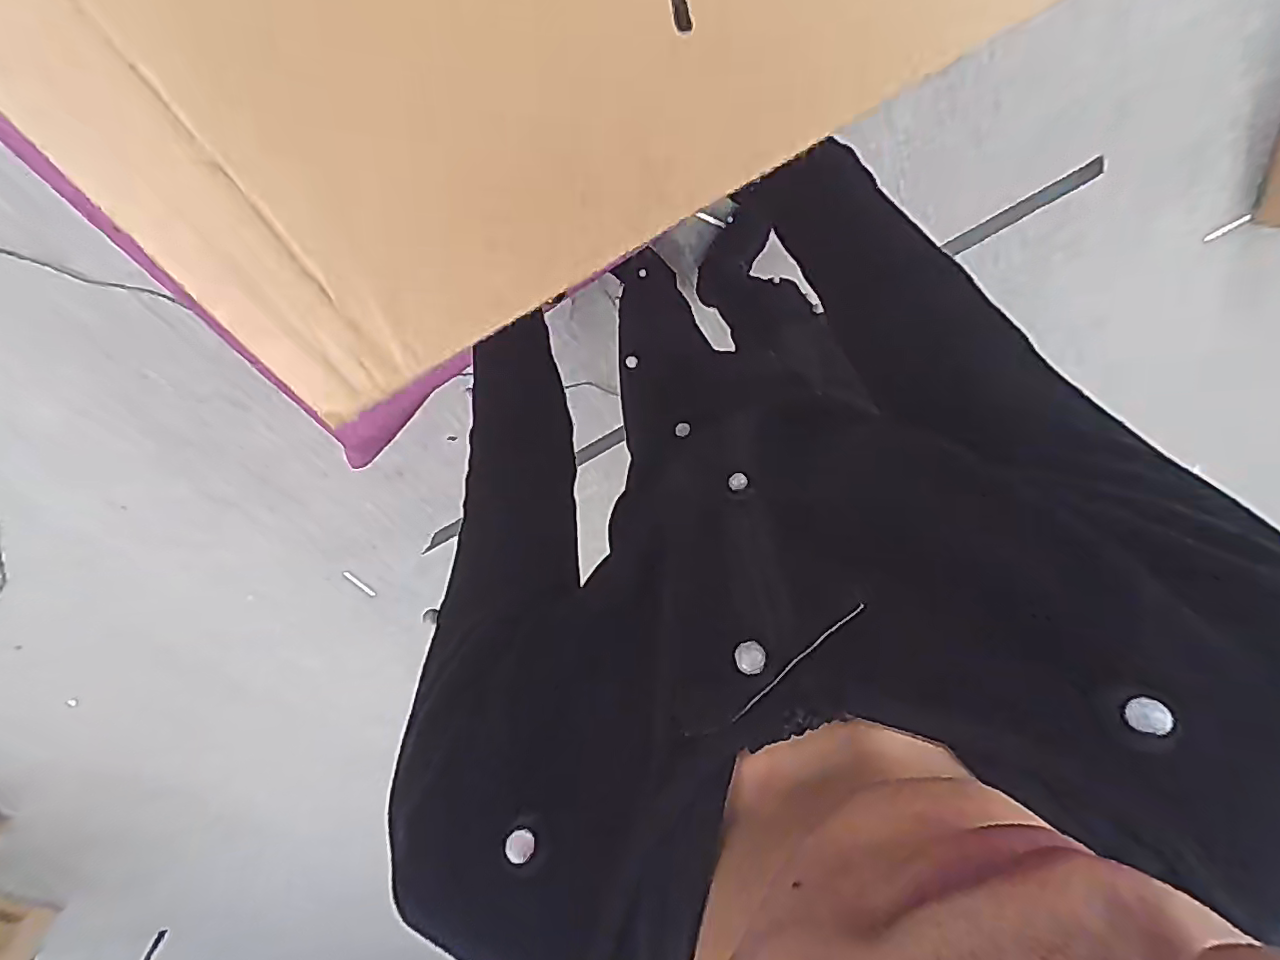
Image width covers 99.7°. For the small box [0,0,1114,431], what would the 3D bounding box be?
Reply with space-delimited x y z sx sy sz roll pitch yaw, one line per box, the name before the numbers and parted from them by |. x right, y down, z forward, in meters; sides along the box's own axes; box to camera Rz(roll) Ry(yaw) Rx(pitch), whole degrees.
small box | -0.029 -0.146 0.095 0.168 0.176 0.179 -27 124 8
